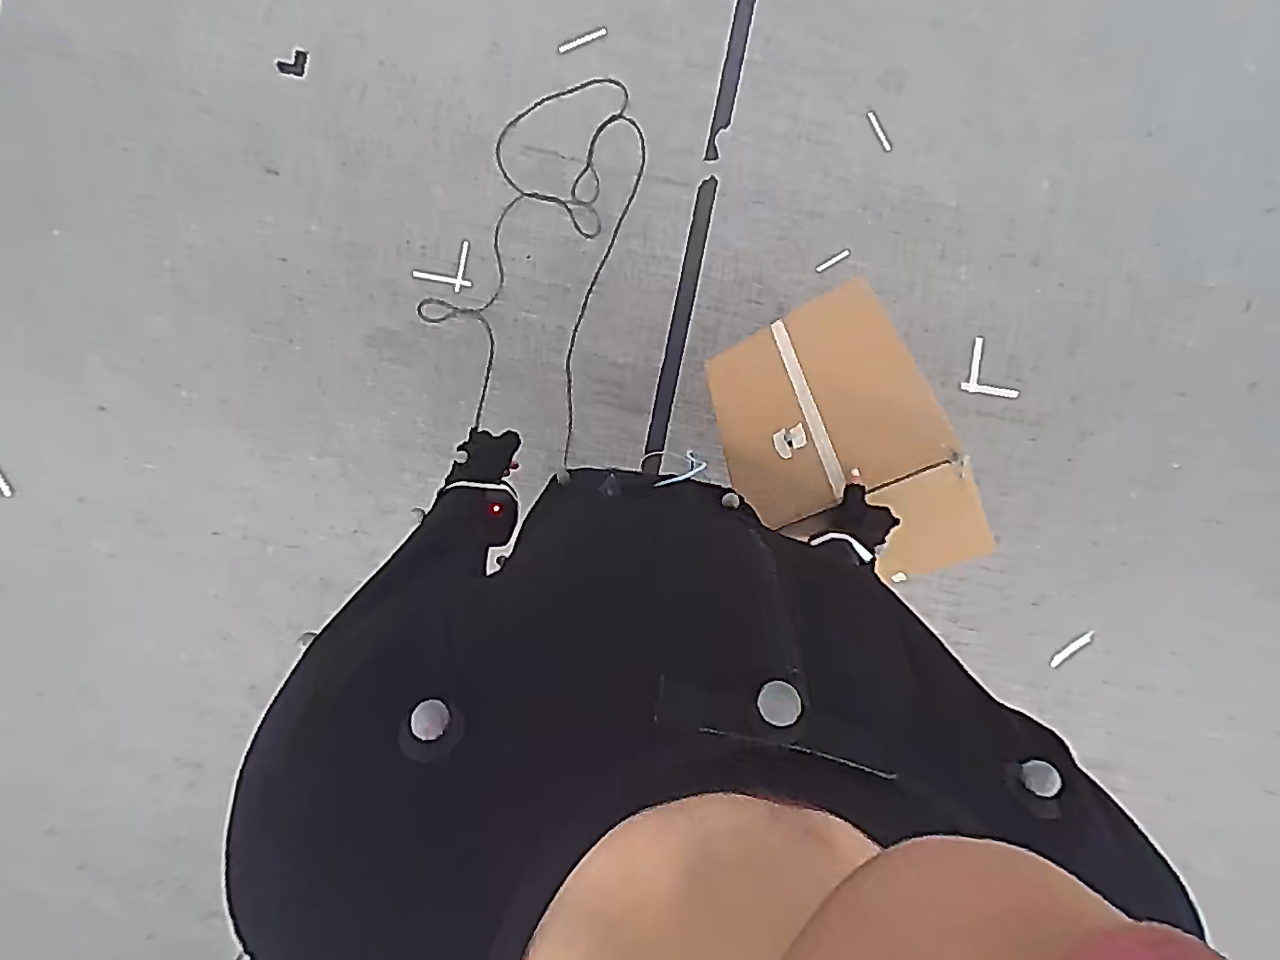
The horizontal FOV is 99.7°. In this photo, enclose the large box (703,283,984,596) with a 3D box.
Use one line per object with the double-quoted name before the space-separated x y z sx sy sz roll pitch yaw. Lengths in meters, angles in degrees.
"large box" 0.351 -0.060 0.977 0.320 0.320 0.408 -27 49 24
